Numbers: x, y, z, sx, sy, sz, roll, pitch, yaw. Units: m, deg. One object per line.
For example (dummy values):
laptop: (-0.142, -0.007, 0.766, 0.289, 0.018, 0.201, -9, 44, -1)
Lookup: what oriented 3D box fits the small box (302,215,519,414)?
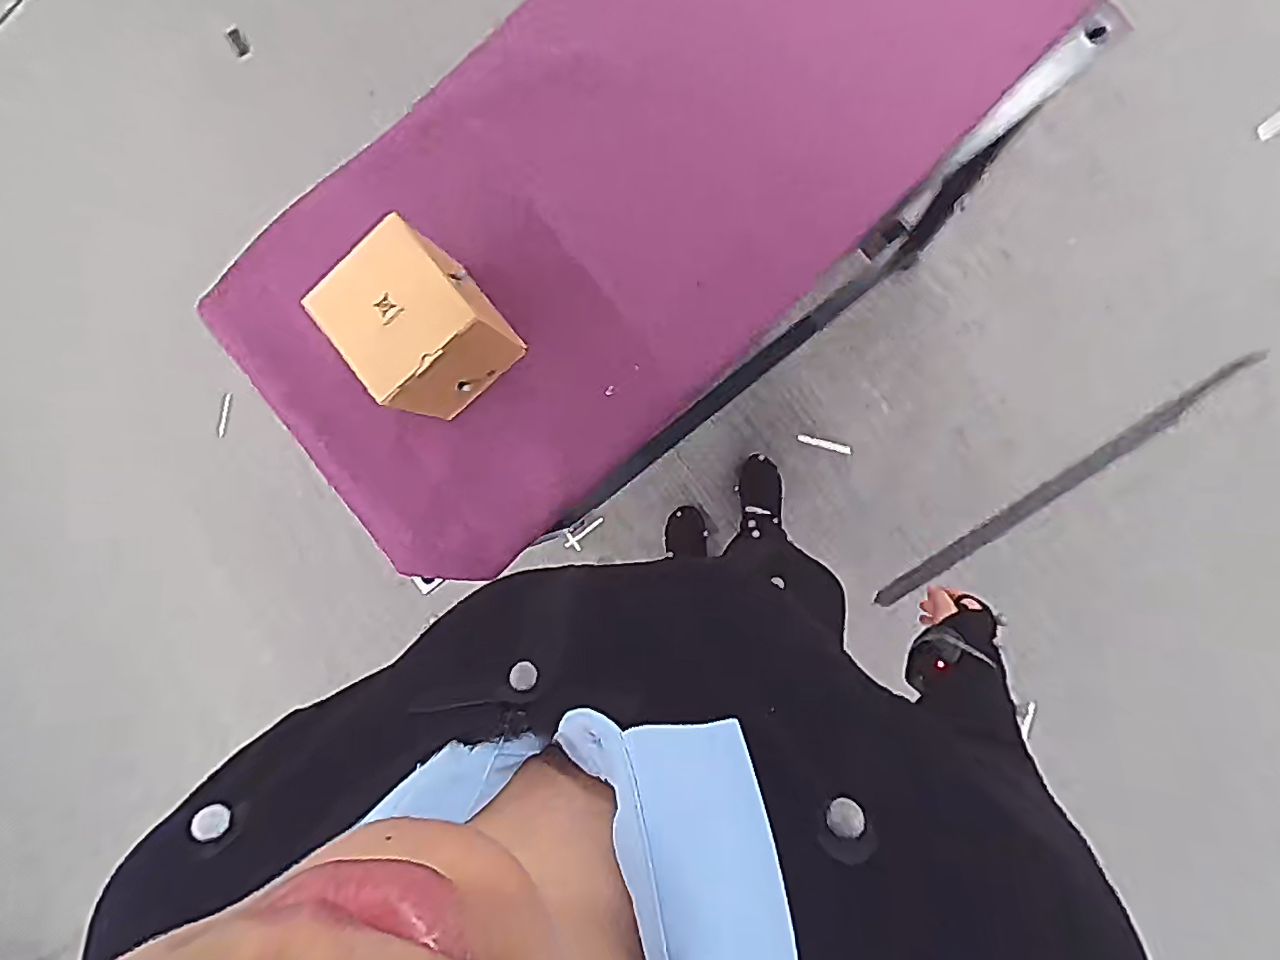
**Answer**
small box: (-0.300, -0.209, 0.740, 0.168, 0.176, 0.179, -40, 85, 7)
